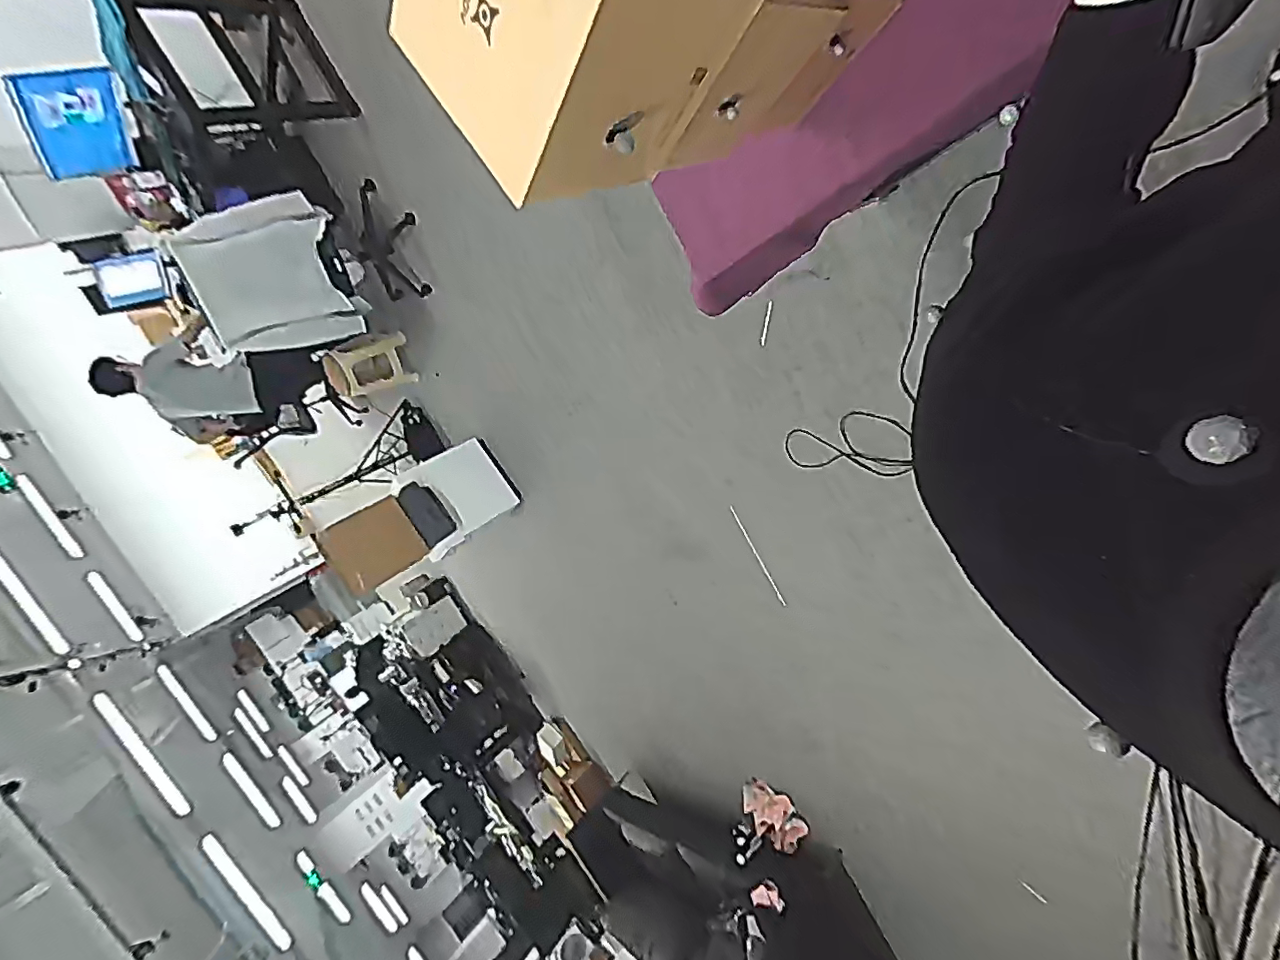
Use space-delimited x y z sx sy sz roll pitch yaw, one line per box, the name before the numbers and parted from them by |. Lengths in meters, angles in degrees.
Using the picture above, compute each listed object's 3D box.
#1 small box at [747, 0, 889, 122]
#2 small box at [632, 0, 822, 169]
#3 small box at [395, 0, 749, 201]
small box | 0.141 -0.535 0.601 0.179 0.176 0.168 58 143 -2
small box | 0.045 -0.436 0.509 0.168 0.176 0.179 57 144 -2
small box | -0.052 -0.353 0.408 0.179 0.176 0.168 55 143 1
